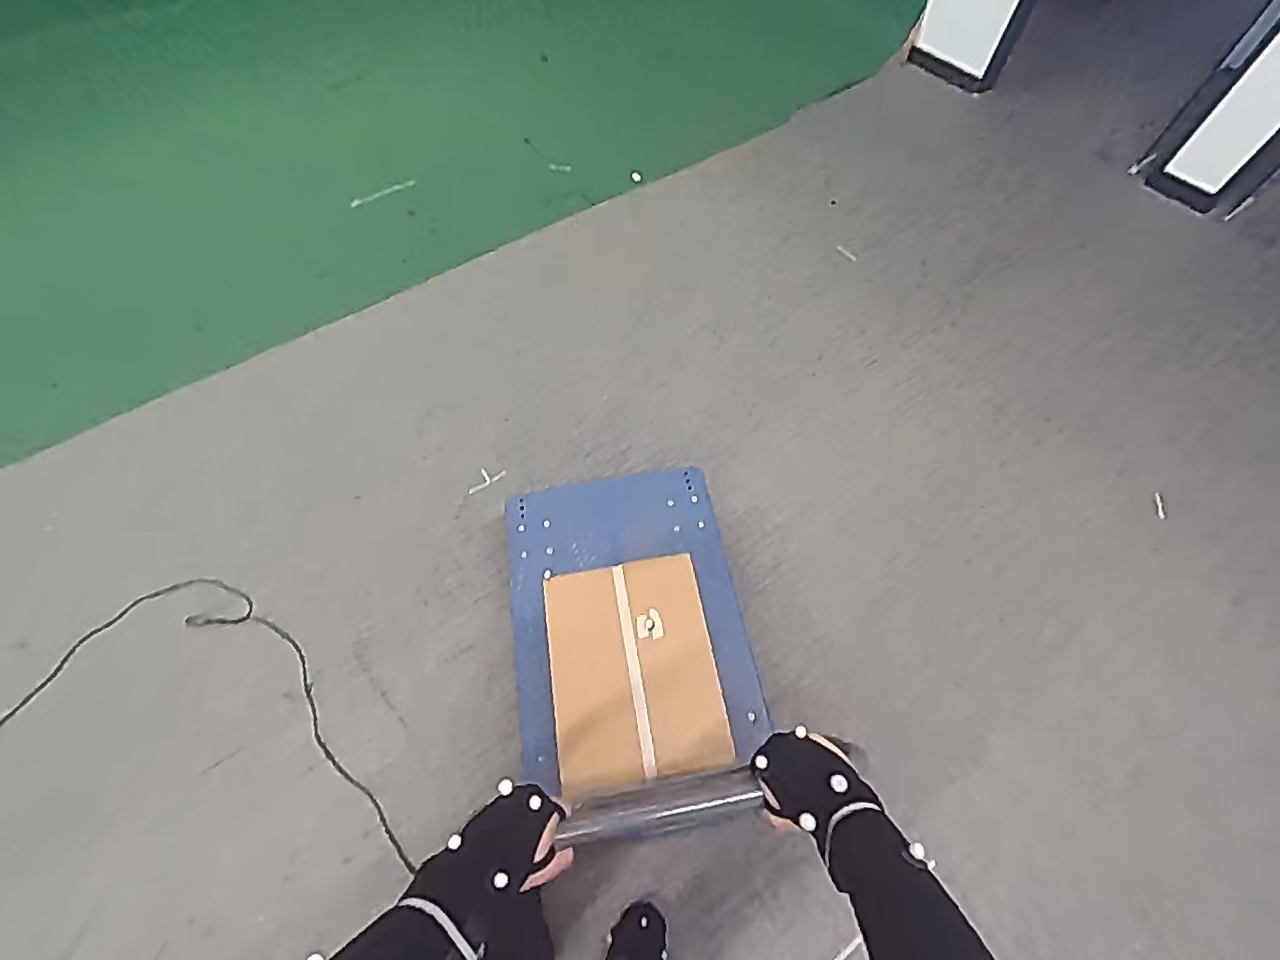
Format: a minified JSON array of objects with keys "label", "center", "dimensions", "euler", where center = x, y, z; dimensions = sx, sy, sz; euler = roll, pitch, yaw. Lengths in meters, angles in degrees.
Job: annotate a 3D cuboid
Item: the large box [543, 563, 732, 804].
[{"label":"large box","center":[-0.013,0.446,1.178],"dimensions":[0.320,0.320,0.408],"euler":[-9,60,-4]}]
